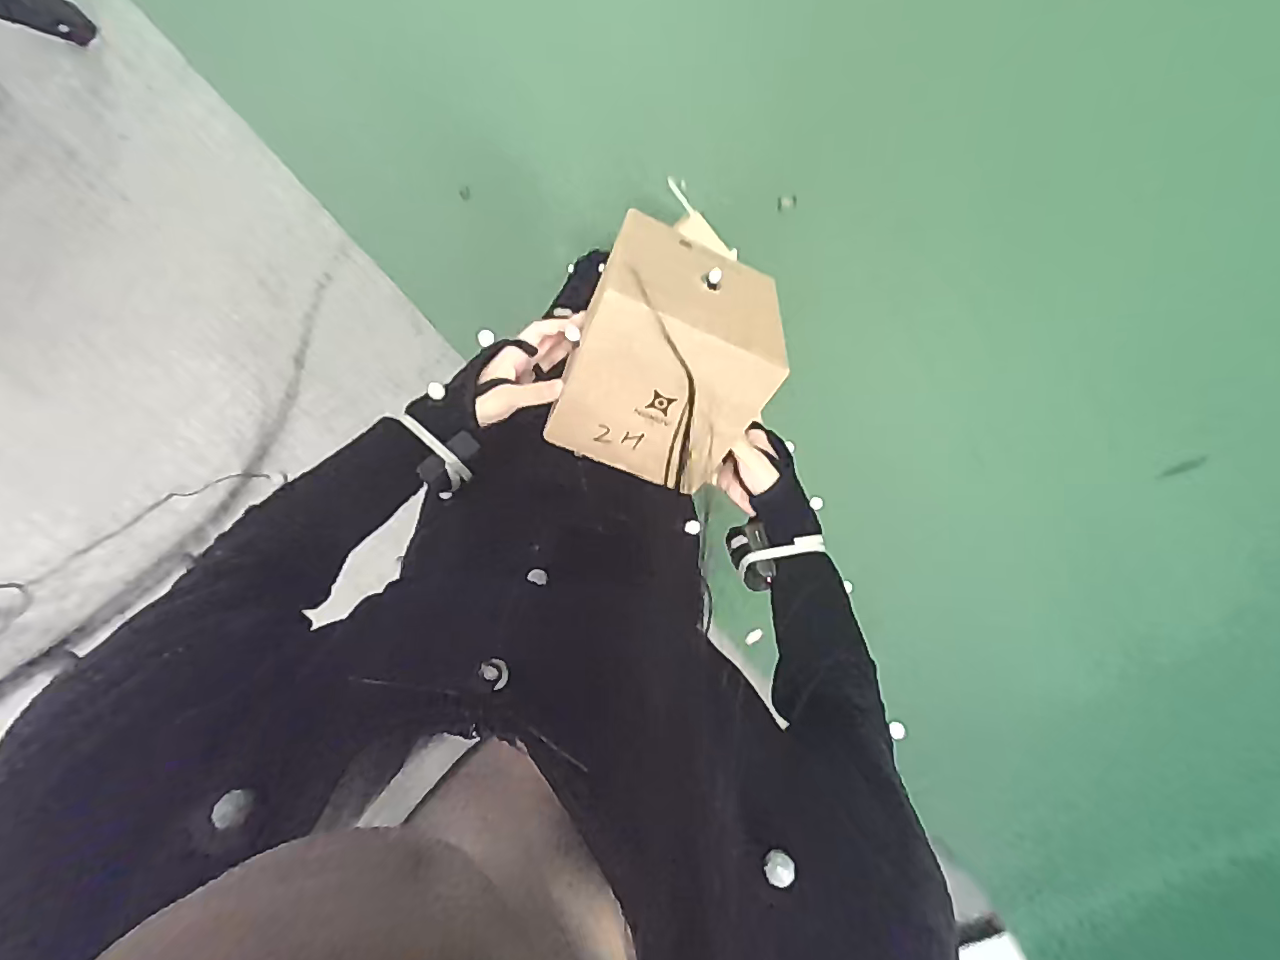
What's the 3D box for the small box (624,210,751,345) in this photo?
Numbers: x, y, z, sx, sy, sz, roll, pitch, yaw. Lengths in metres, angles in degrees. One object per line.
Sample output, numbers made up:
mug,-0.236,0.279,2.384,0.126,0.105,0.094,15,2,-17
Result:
small box,0.085,-0.394,1.046,0.179,0.176,0.168,-39,108,18
